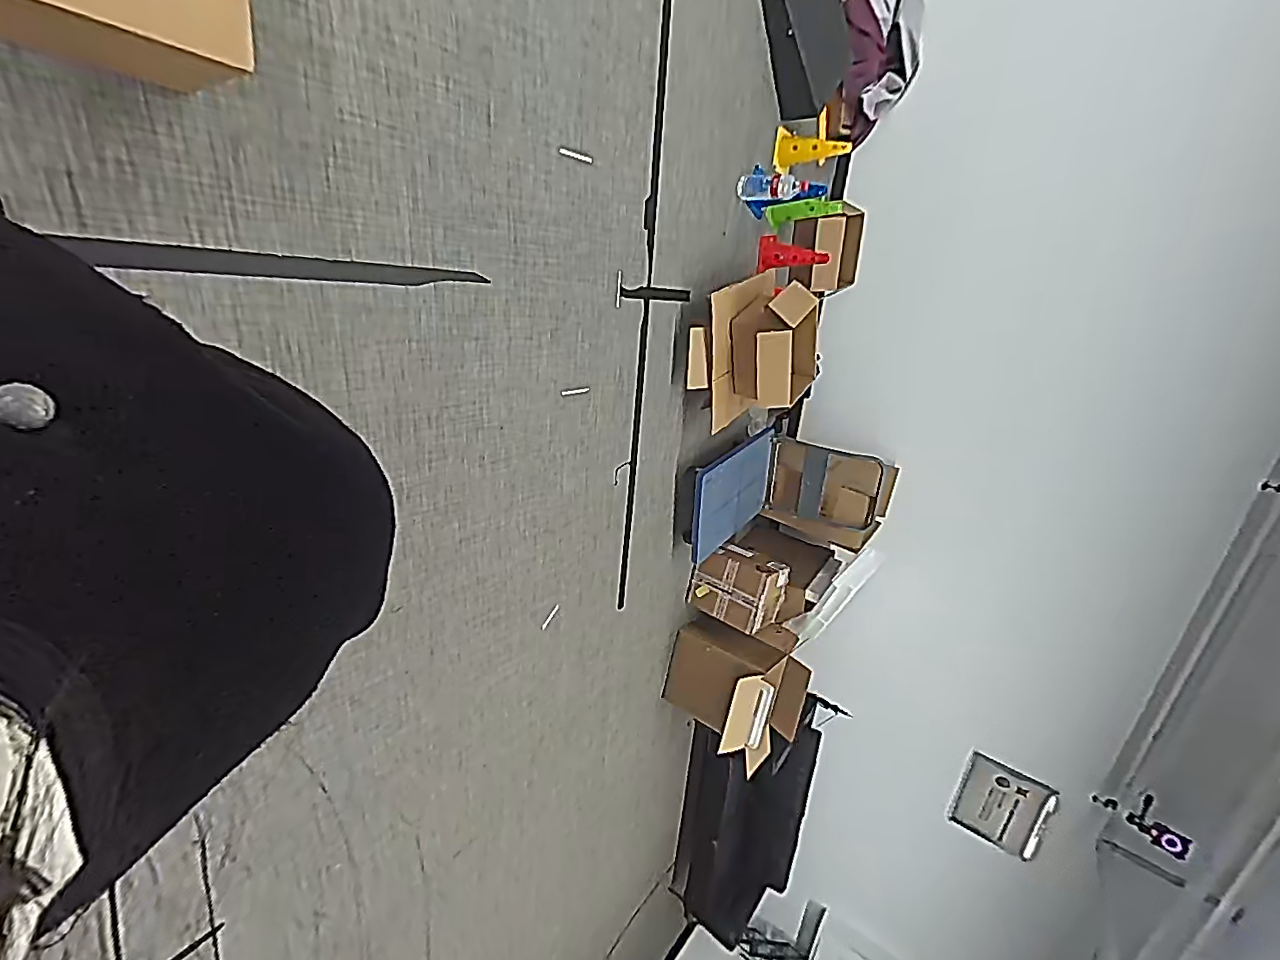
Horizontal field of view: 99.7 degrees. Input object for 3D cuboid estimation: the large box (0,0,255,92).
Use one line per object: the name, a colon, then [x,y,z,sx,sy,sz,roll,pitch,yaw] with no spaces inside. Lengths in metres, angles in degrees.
large box: [-0.851,-0.809,0.761,0.408,0.320,0.320,-18,121,-52]
